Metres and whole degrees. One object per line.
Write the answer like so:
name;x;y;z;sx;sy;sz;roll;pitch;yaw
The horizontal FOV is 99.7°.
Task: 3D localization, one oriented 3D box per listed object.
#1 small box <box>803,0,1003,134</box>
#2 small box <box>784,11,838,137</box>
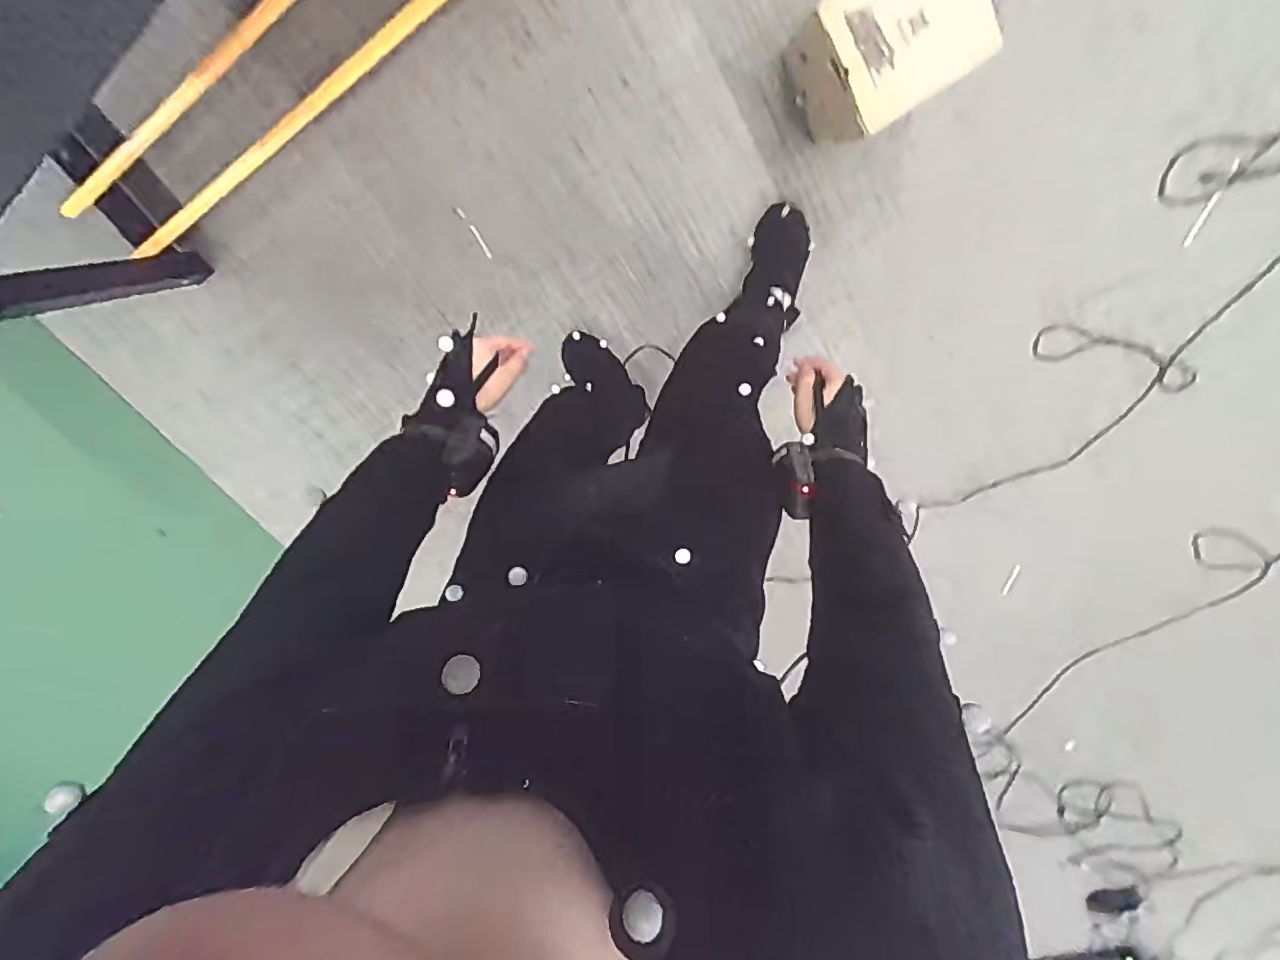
small box;0.336;-0.601;0.727;0.179;0.176;0.168;-28;113;17
small box;0.354;-0.686;0.866;0.179;0.176;0.168;-26;113;16
